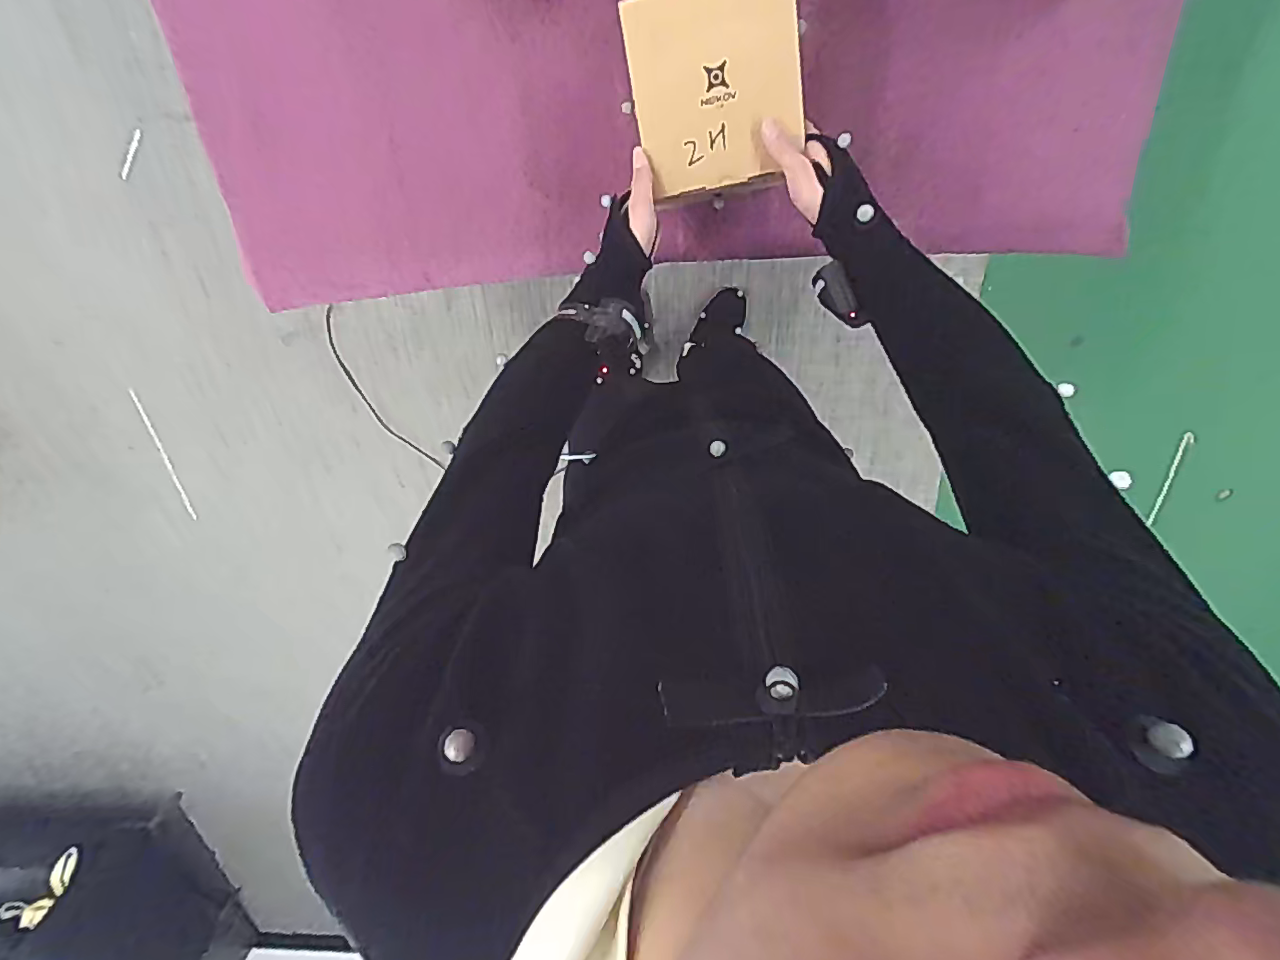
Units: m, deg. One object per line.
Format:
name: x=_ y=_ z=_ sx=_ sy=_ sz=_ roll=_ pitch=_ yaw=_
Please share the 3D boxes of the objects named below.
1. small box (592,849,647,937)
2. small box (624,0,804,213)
small box: x=-0.066 y=1.391 z=1.824 sx=0.168 sy=0.176 sz=0.179 roll=1 pitch=114 yaw=5
small box: x=0.082 y=-0.416 z=0.612 sx=0.168 sy=0.176 sz=0.179 roll=-8 pitch=113 yaw=8
